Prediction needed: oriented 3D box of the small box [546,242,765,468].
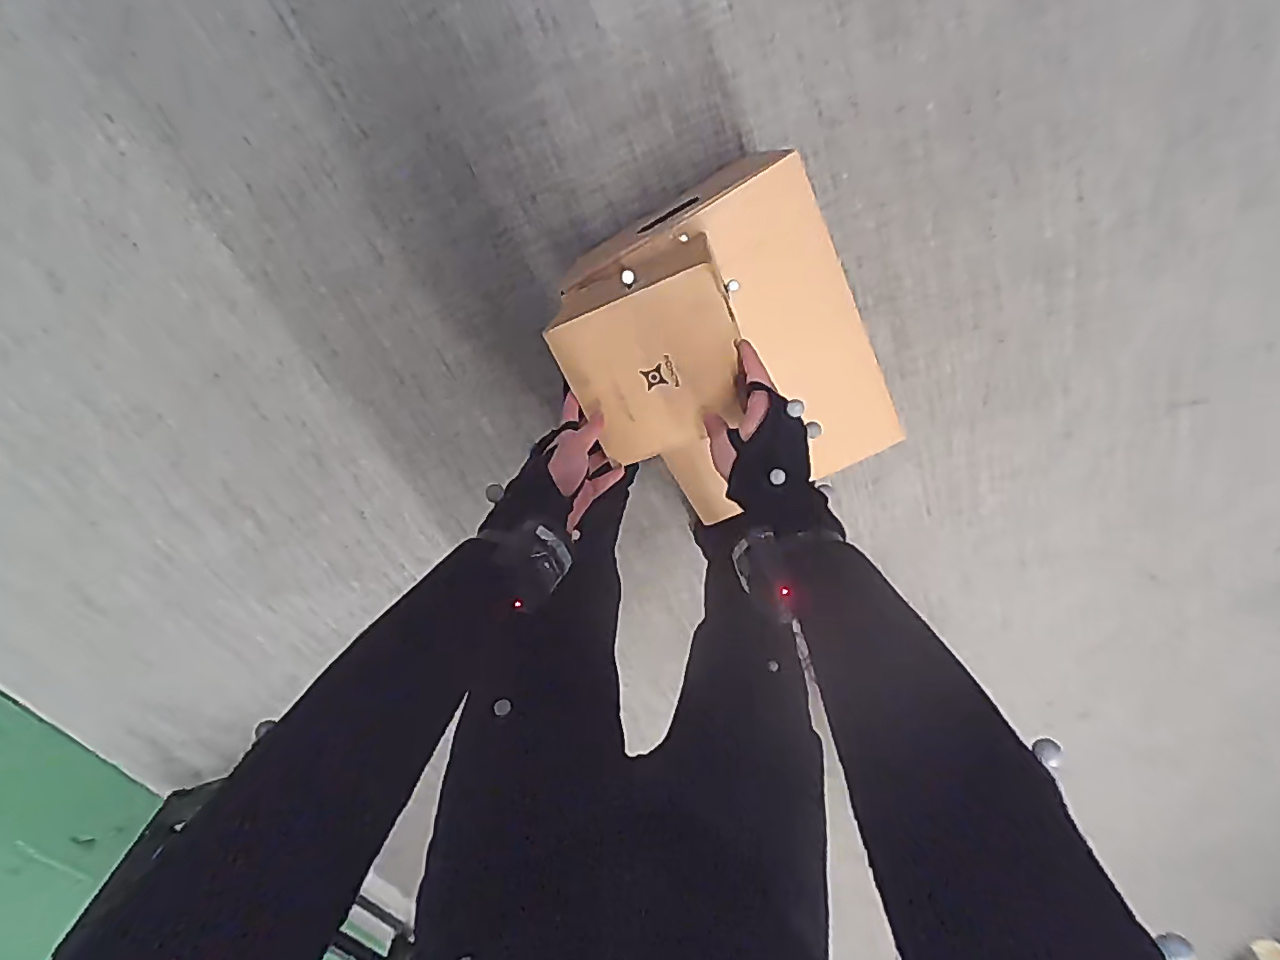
[{"bbox_3d":[0.023,-0.144,0.603,0.179,0.176,0.168,-19,118,17],"label":"small box"}]
